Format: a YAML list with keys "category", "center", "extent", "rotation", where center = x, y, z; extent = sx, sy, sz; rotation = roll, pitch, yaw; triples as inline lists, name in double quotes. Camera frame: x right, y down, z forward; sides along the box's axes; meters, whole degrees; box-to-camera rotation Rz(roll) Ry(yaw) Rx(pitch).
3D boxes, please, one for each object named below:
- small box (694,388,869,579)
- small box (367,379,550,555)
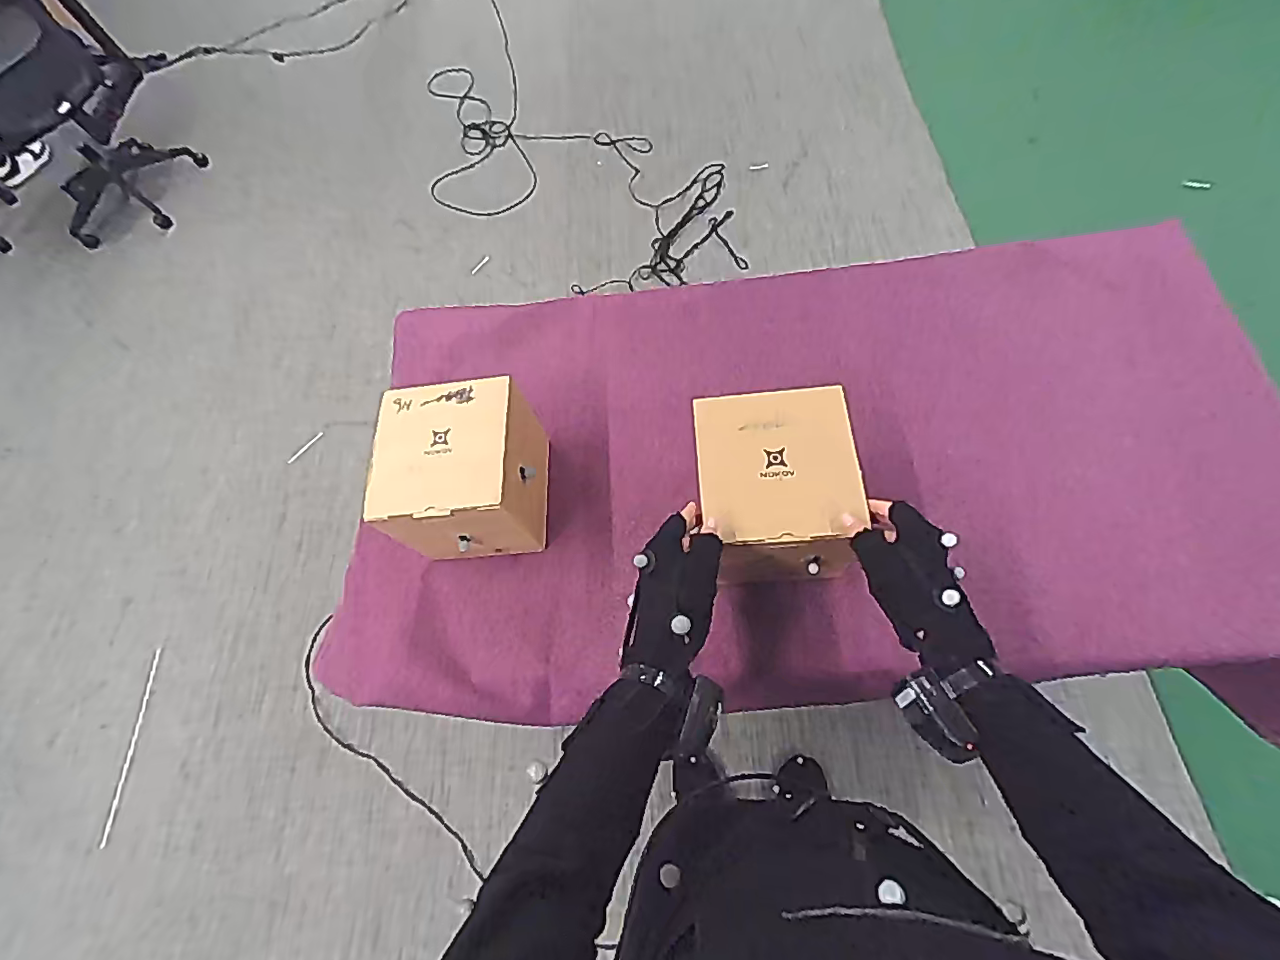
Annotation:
- category: "small box"
  center: [0.155, 0.015, 0.639]
  extent: [0.168, 0.176, 0.179]
  rotation: [-4, 65, 7]
- category: "small box"
  center: [-0.220, -0.006, 0.706]
  extent: [0.168, 0.176, 0.179]
  rotation: [-5, 66, 6]
